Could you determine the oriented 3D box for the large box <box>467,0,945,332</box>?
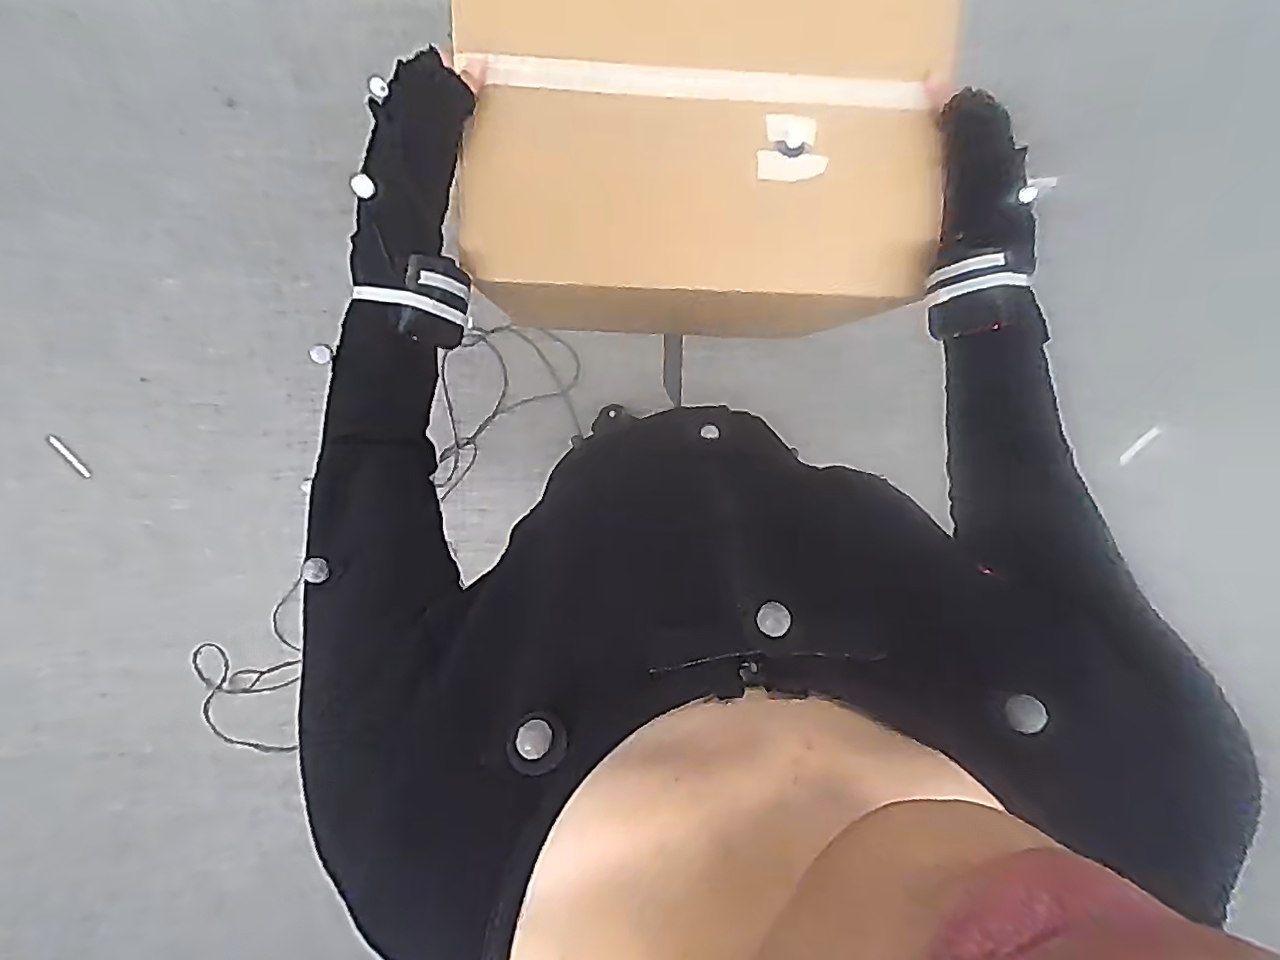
[{"bbox_3d":[0.045,-0.344,0.599,0.408,0.320,0.320,1,98,-5],"label":"large box"}]
